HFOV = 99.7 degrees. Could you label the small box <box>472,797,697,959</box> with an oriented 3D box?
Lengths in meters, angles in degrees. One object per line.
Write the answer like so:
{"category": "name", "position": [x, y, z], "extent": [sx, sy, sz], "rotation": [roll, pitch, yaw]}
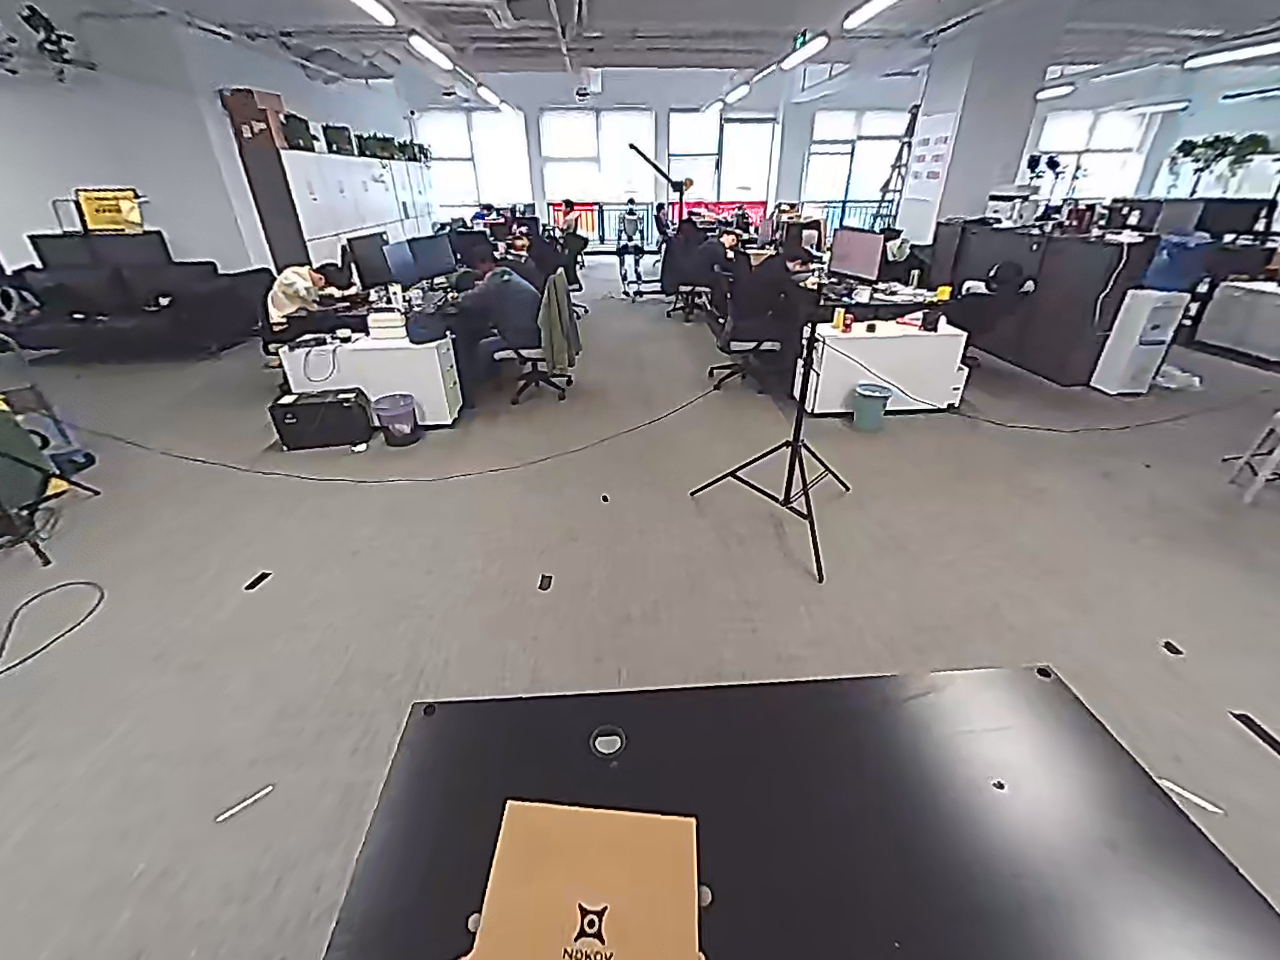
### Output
{"category": "small box", "position": [-0.045, 0.401, 0.452], "extent": [0.168, 0.176, 0.179], "rotation": [6, 39, 0]}
